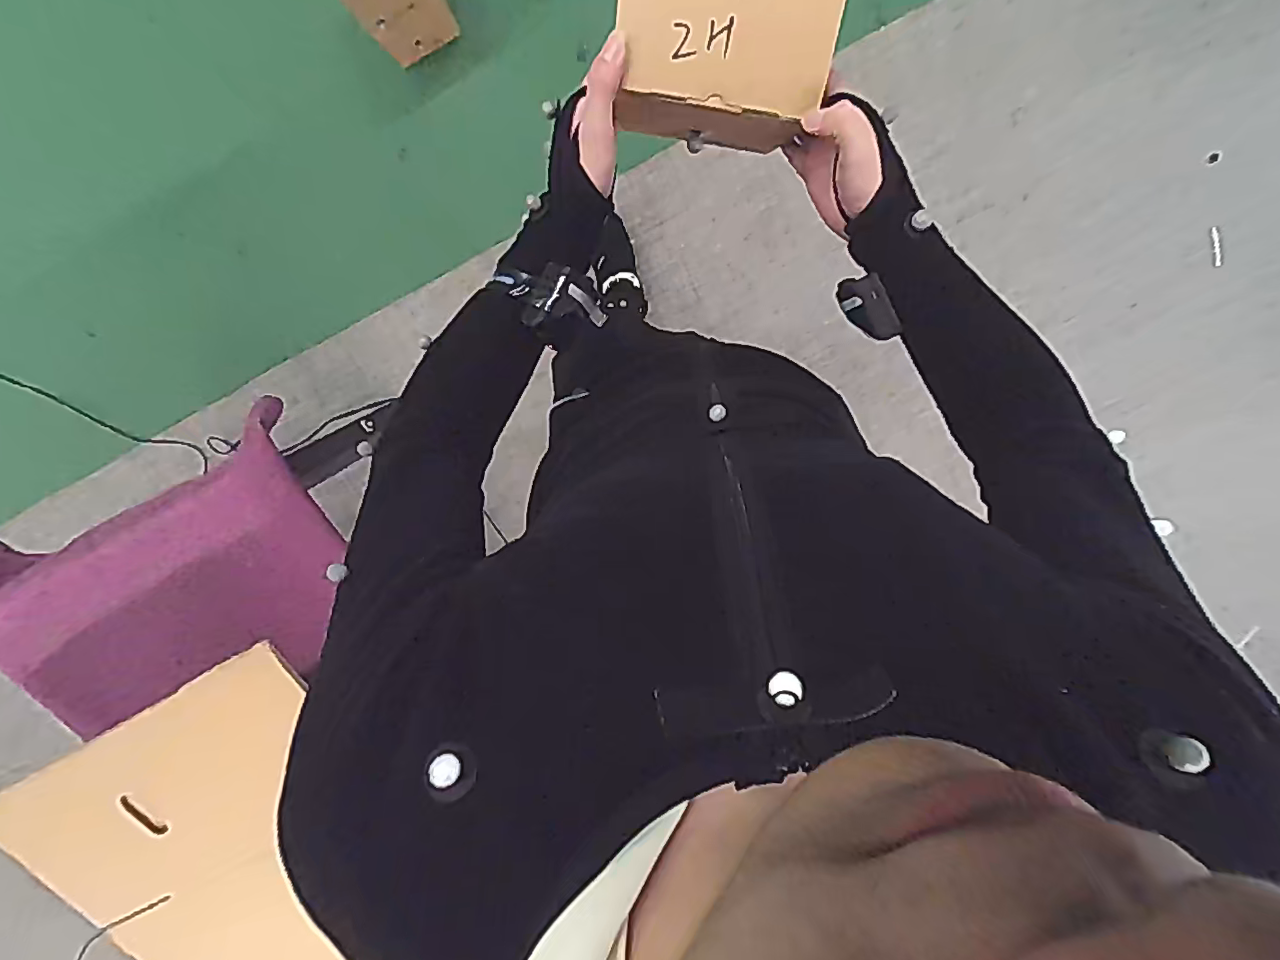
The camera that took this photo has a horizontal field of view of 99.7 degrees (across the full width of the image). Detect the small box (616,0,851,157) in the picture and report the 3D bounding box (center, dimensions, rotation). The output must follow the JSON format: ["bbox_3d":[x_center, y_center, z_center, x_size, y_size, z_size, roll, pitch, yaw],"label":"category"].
[{"bbox_3d":[0.072,-0.397,0.458,0.168,0.176,0.179,8,114,-4],"label":"small box"}]

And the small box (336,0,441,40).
[{"bbox_3d":[-0.514,-0.995,1.035,0.168,0.176,0.179,-26,106,6],"label":"small box"}]

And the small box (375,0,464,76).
[{"bbox_3d":[-0.519,-1.047,1.190,0.168,0.176,0.179,-26,108,6],"label":"small box"}]
